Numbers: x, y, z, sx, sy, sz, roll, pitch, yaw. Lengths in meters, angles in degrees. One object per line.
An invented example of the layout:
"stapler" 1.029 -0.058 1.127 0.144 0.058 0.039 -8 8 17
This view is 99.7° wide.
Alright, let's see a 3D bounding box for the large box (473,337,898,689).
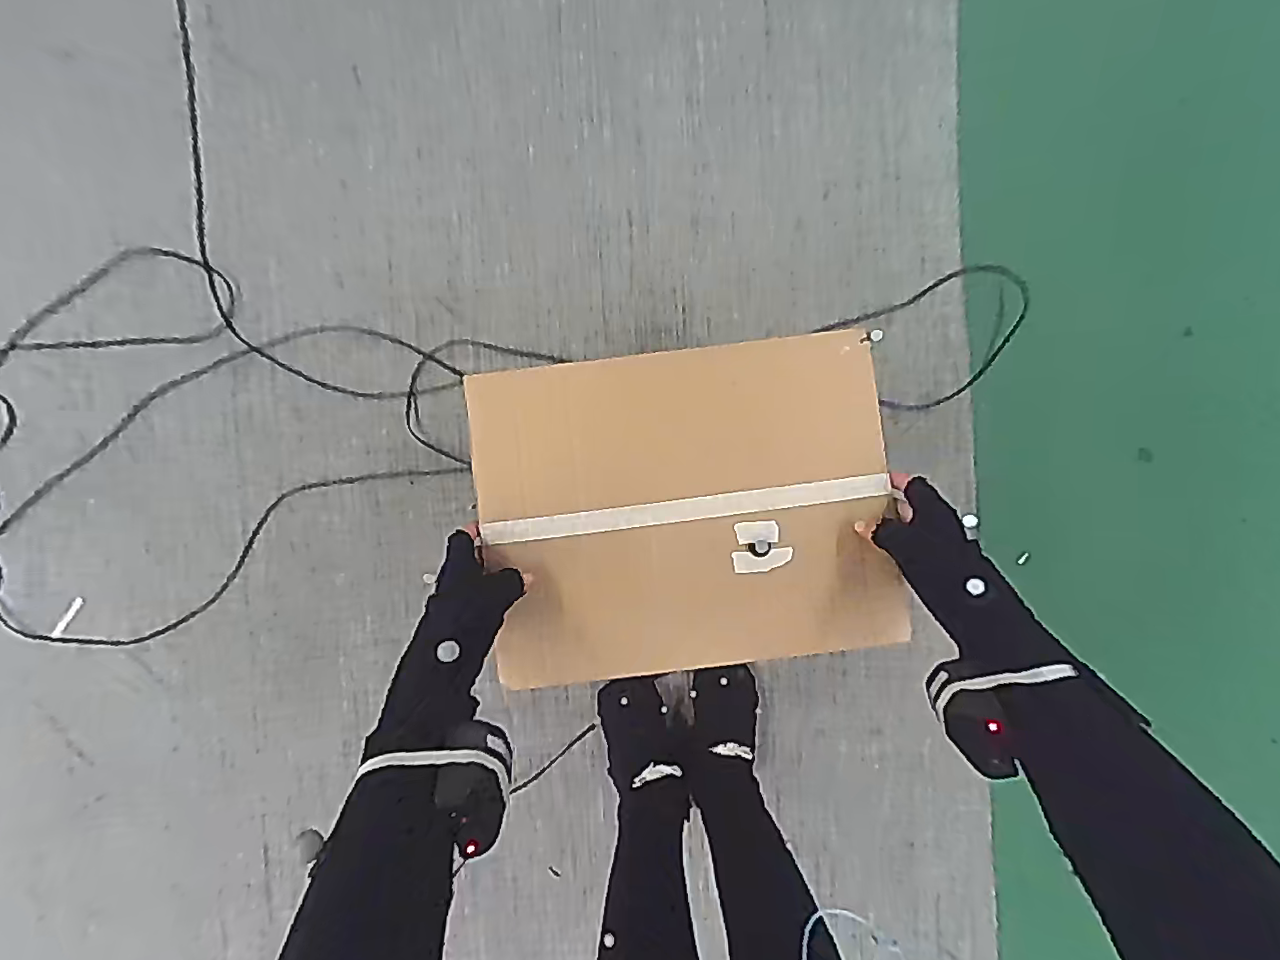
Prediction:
"large box" 0.043 0.038 0.696 0.408 0.320 0.320 -8 89 -1
